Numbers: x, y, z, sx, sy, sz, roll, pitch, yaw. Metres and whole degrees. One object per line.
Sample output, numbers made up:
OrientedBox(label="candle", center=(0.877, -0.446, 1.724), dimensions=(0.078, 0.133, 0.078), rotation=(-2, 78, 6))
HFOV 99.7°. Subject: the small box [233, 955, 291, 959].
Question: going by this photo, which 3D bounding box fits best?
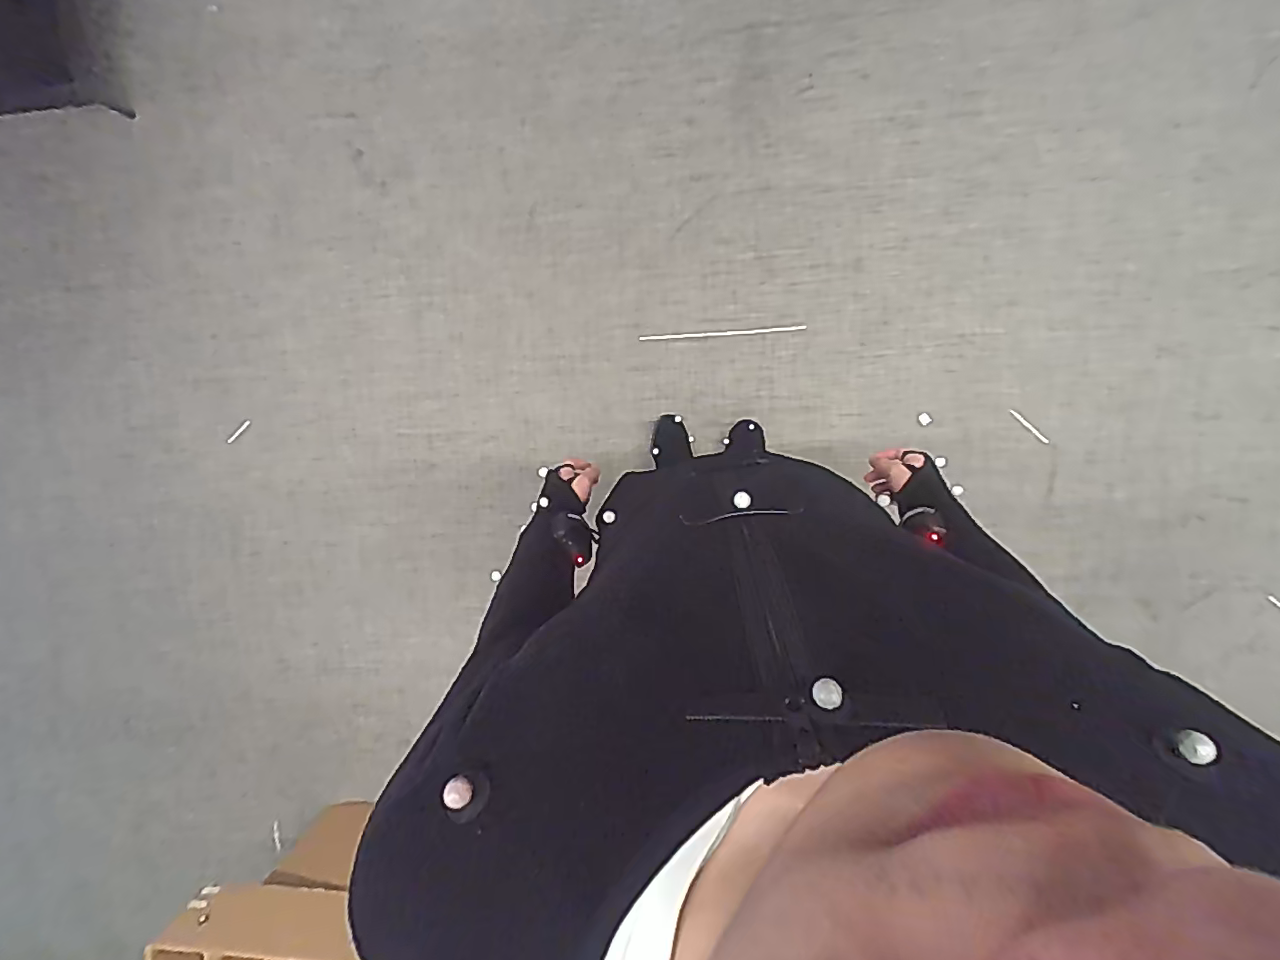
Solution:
OrientedBox(label="small box", center=(-1.009, 1.350, 1.363), dimensions=(0.179, 0.176, 0.168), rotation=(0, 97, 3))
